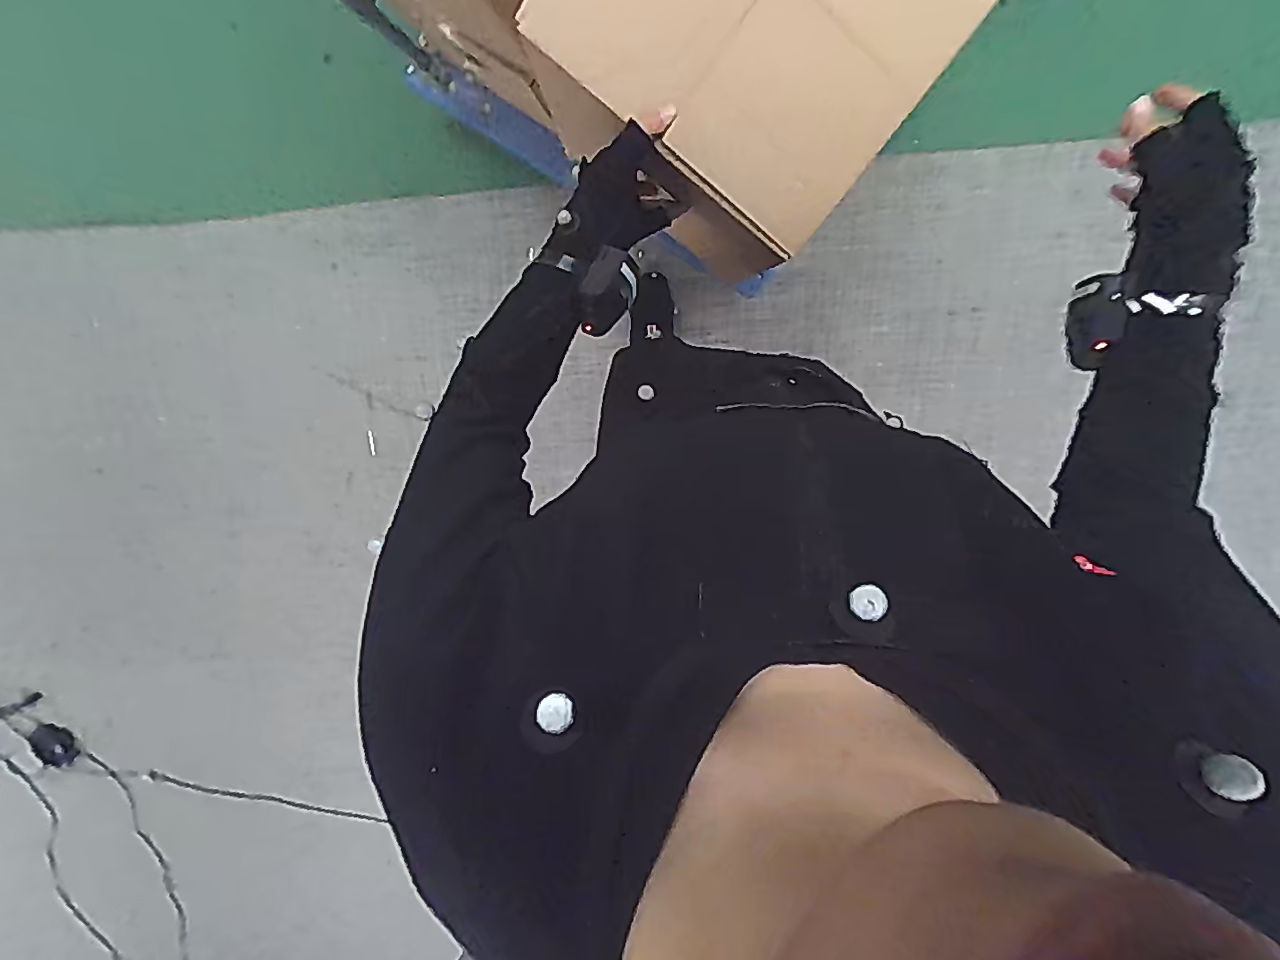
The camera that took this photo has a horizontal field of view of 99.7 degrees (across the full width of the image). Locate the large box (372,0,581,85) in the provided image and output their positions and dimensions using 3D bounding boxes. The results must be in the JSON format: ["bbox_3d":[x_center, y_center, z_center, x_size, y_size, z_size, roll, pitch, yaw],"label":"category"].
[{"bbox_3d":[-0.205,-0.781,0.608,0.320,0.320,0.408,29,106,1],"label":"large box"}]
